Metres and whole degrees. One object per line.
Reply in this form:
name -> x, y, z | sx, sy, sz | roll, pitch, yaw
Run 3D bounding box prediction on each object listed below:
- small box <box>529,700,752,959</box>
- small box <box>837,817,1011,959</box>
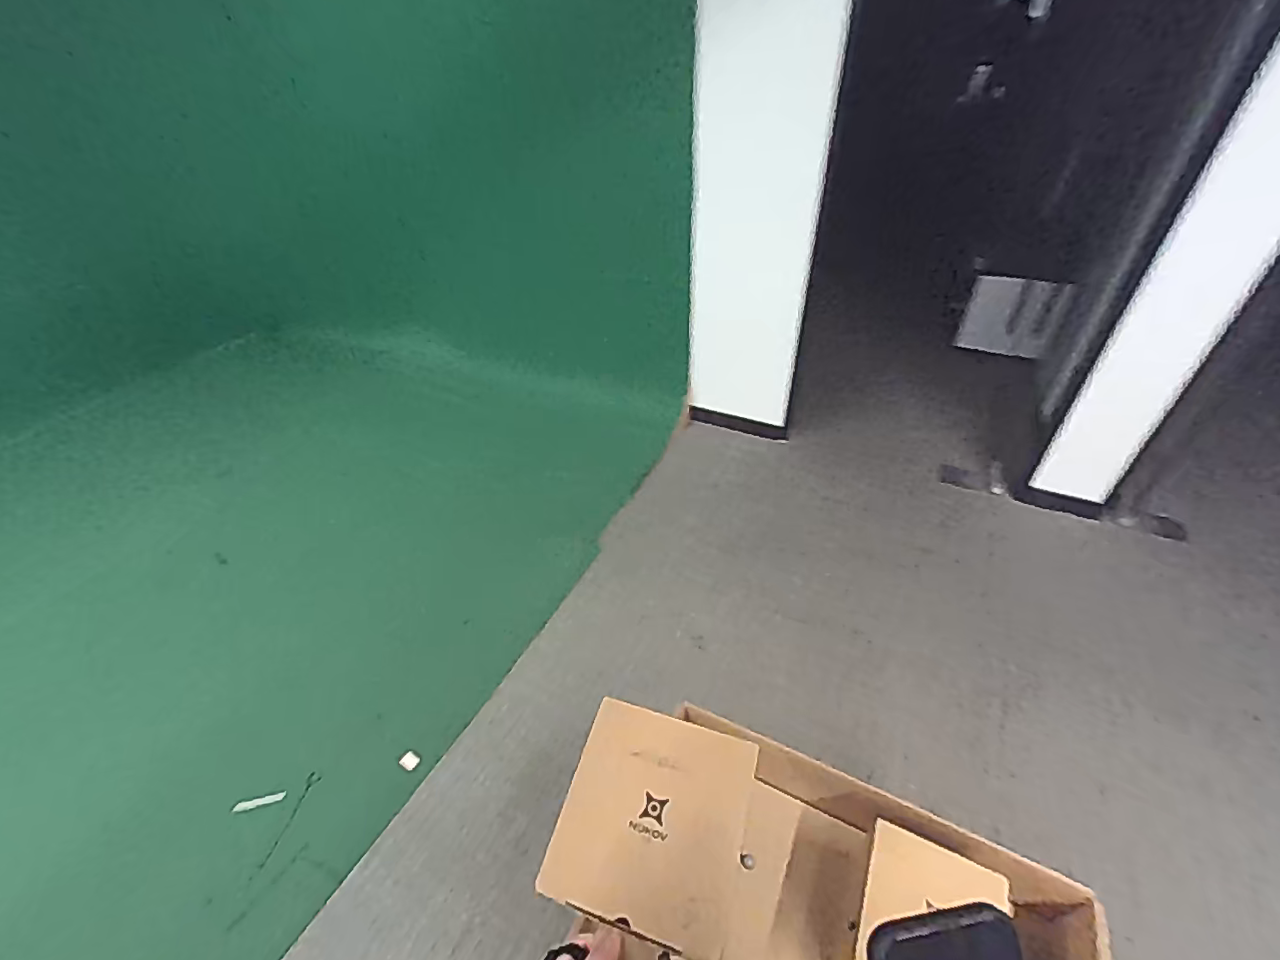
small box -> 0.014, 0.360, 0.553 | 0.168, 0.176, 0.179 | 11, 51, 15
small box -> 0.378, 0.611, 0.734 | 0.168, 0.176, 0.179 | 16, 46, 23
